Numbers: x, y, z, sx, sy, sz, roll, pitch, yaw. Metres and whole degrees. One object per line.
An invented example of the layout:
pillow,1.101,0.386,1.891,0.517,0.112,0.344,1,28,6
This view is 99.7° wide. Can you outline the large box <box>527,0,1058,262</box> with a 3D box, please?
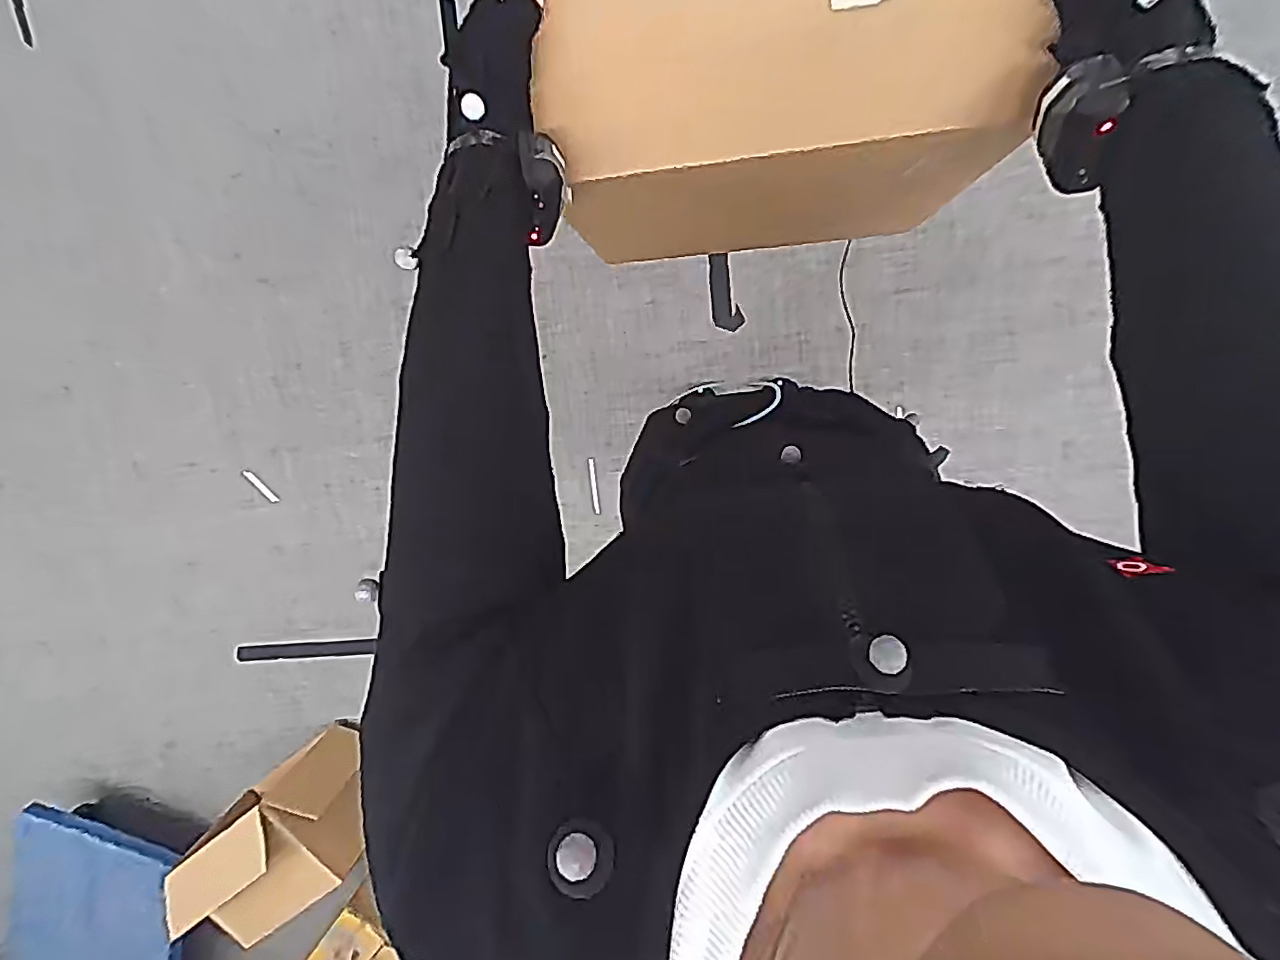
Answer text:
large box,0.118,-0.440,0.554,0.408,0.320,0.320,-4,100,7
